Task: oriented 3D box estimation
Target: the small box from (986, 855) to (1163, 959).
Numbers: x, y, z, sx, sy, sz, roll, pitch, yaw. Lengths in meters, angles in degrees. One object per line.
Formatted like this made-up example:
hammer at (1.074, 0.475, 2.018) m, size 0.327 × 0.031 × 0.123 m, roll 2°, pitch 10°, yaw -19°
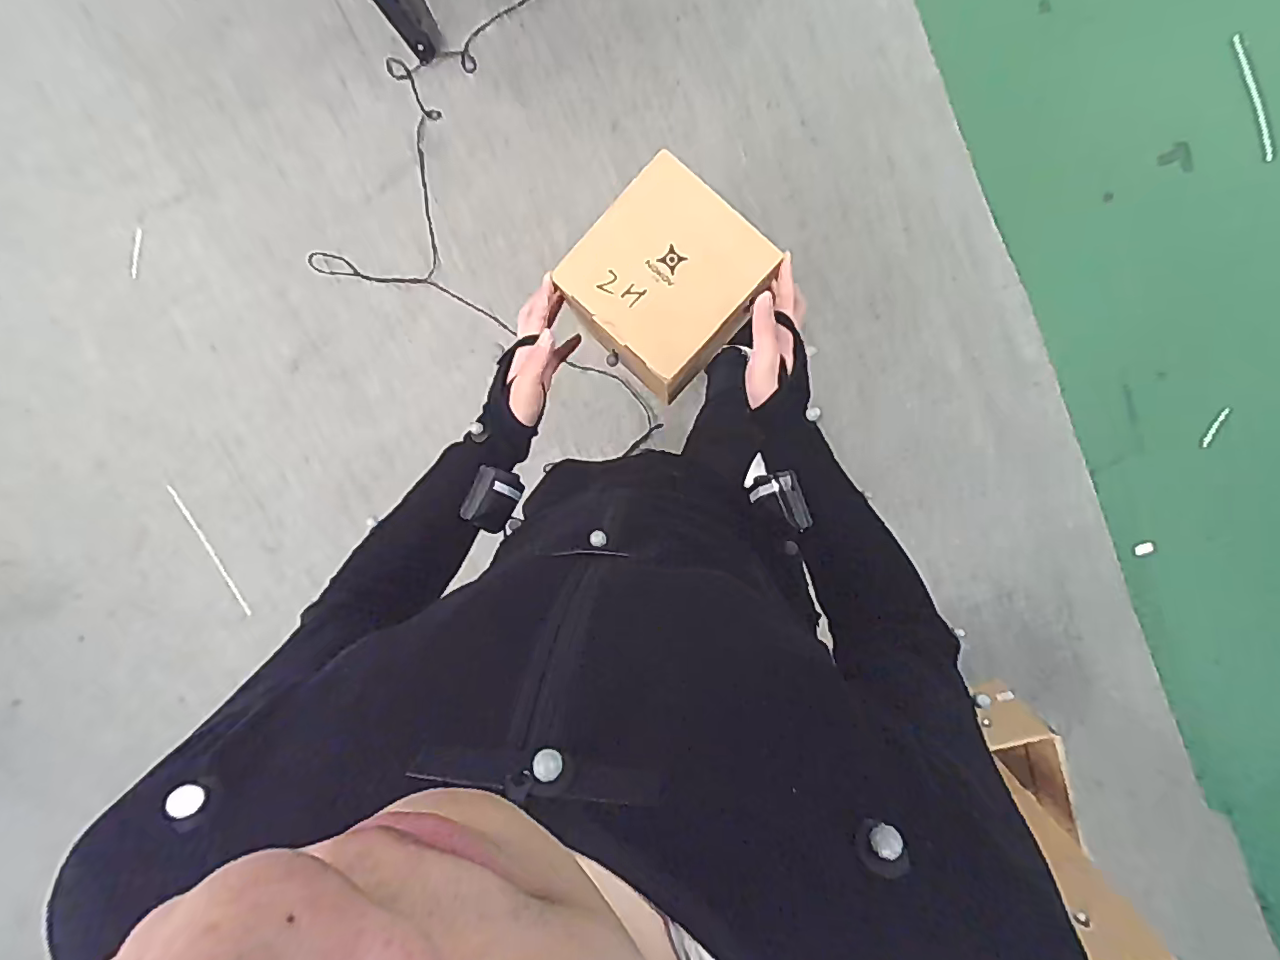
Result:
small box at (0.693, 0.754, 0.871) m, size 0.179 × 0.176 × 0.168 m, roll -18°, pitch 98°, yaw 8°
